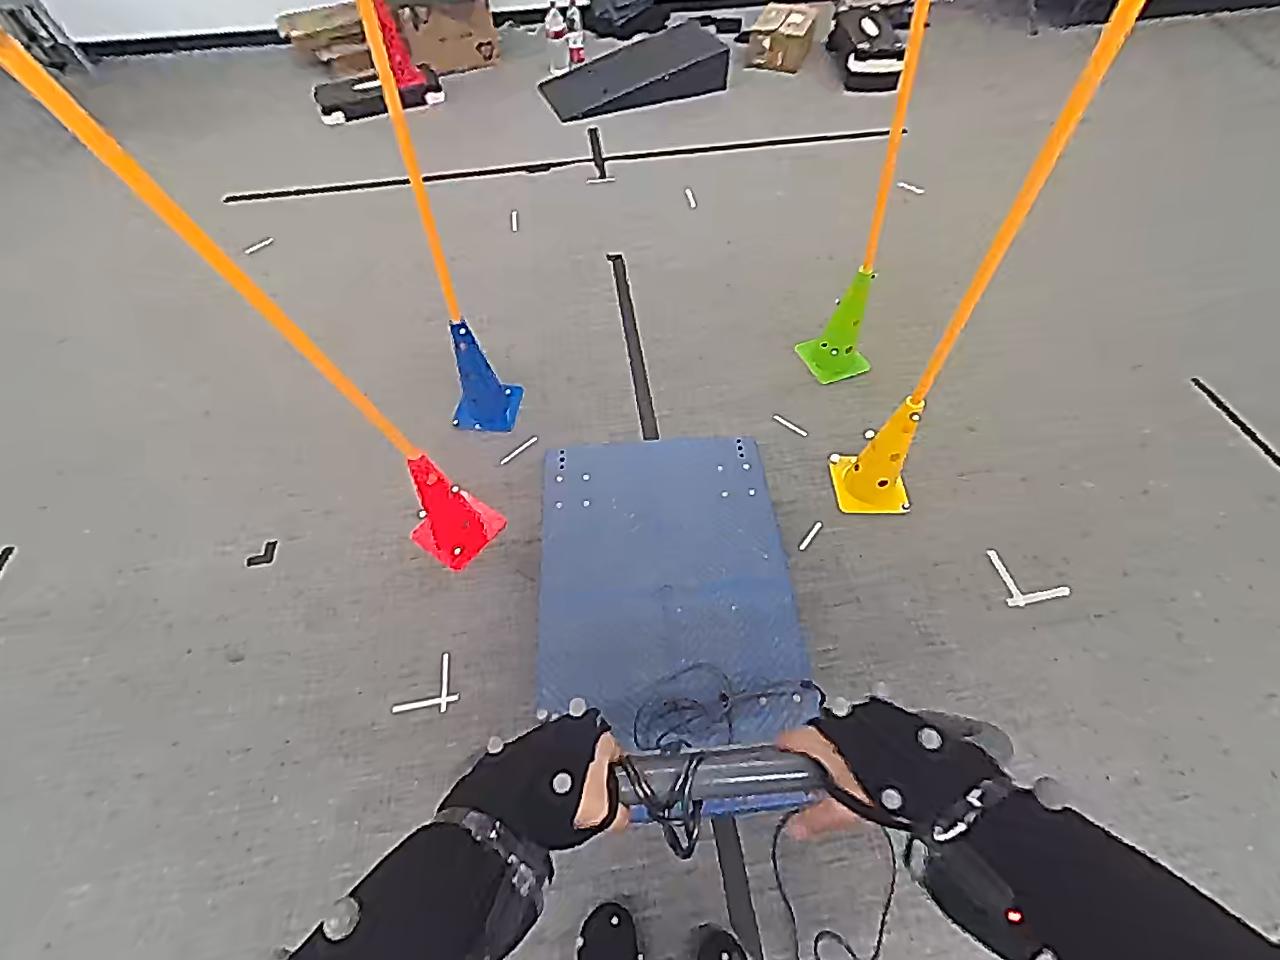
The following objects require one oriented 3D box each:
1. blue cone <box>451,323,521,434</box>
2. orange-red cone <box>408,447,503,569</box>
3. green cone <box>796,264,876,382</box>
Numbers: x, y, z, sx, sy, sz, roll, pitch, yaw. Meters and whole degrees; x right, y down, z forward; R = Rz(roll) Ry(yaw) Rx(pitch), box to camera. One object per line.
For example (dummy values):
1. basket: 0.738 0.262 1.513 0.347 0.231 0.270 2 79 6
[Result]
1. blue cone: -0.496 -0.322 1.633 0.193 0.380 0.192 5 57 4
2. orange-red cone: -0.510 0.037 1.373 0.198 0.360 0.199 32 61 20
3. green cone: 0.665 -0.522 1.725 0.200 0.368 0.202 -19 59 -11
